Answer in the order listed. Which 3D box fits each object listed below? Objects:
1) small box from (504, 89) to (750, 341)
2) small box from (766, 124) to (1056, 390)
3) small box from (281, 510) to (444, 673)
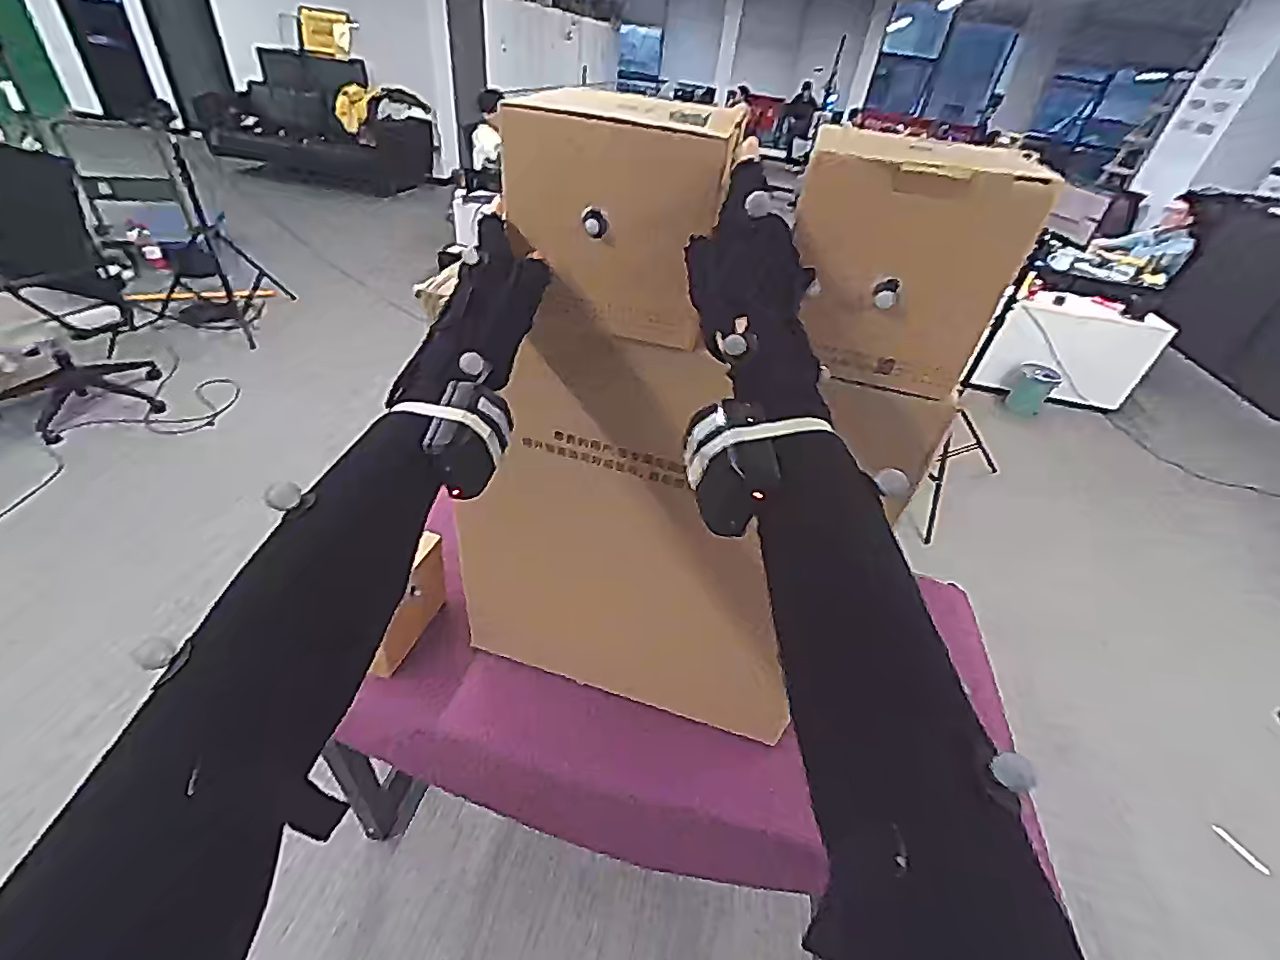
[{"bbox_3d":[-0.007,-0.247,0.505,0.179,0.176,0.168,12,40,7],"label":"small box"},{"bbox_3d":[0.218,-0.203,0.487,0.168,0.176,0.179,15,41,9],"label":"small box"},{"bbox_3d":[-0.437,0.184,0.890,0.168,0.176,0.179,17,36,6],"label":"small box"}]
